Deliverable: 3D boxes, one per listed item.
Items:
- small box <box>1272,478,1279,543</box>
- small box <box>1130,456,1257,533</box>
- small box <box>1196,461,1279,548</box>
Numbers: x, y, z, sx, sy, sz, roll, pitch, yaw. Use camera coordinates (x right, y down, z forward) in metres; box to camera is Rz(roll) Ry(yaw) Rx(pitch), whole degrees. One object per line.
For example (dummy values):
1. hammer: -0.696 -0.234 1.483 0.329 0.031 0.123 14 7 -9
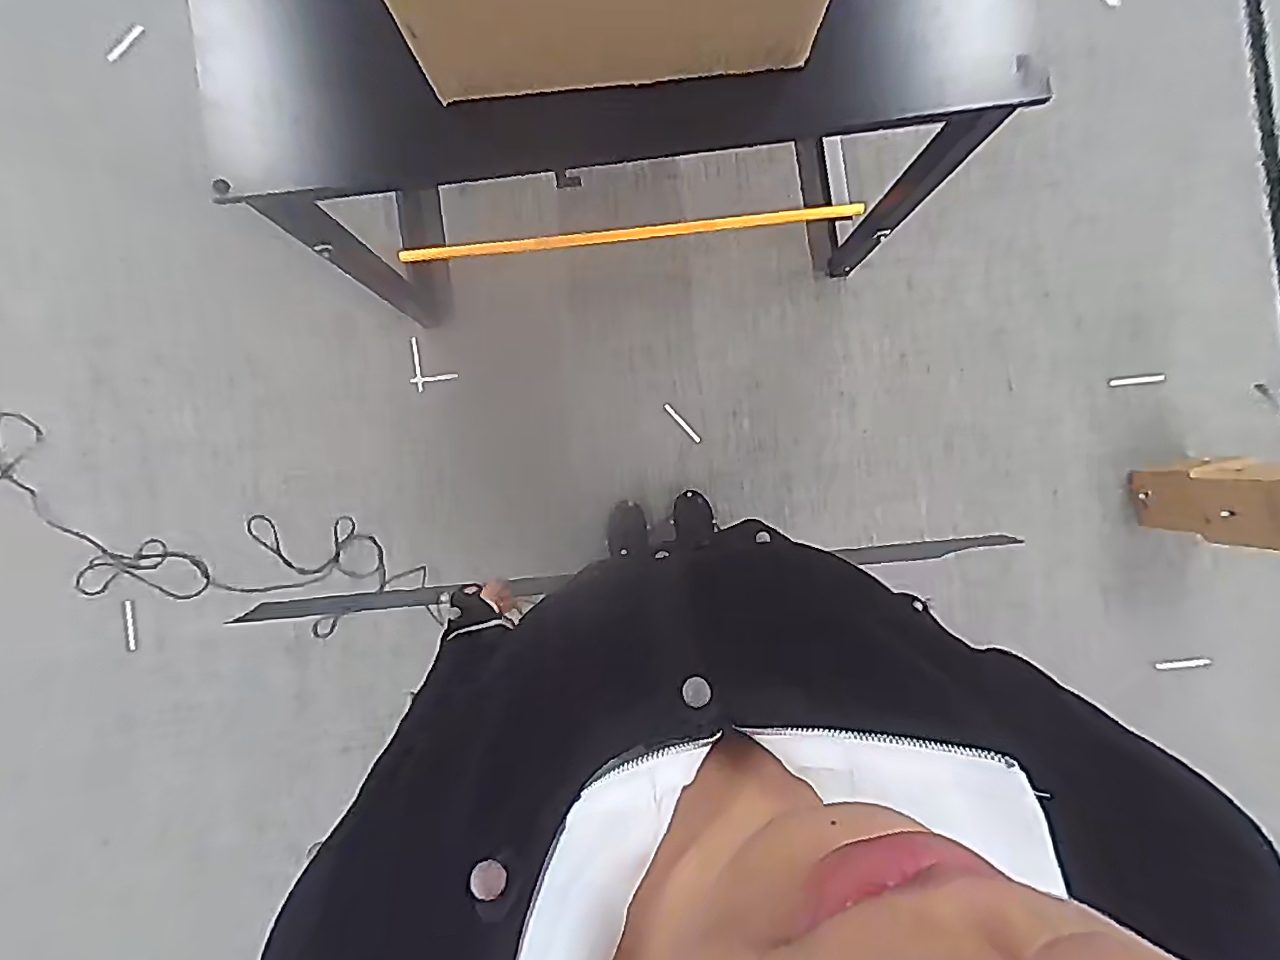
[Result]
1. small box: 1.463 0.061 1.090 0.179 0.176 0.168 -9 89 0
2. small box: 1.458 0.034 1.420 0.179 0.176 0.168 -13 90 2
3. small box: 1.459 0.053 1.256 0.179 0.176 0.168 -14 90 1
